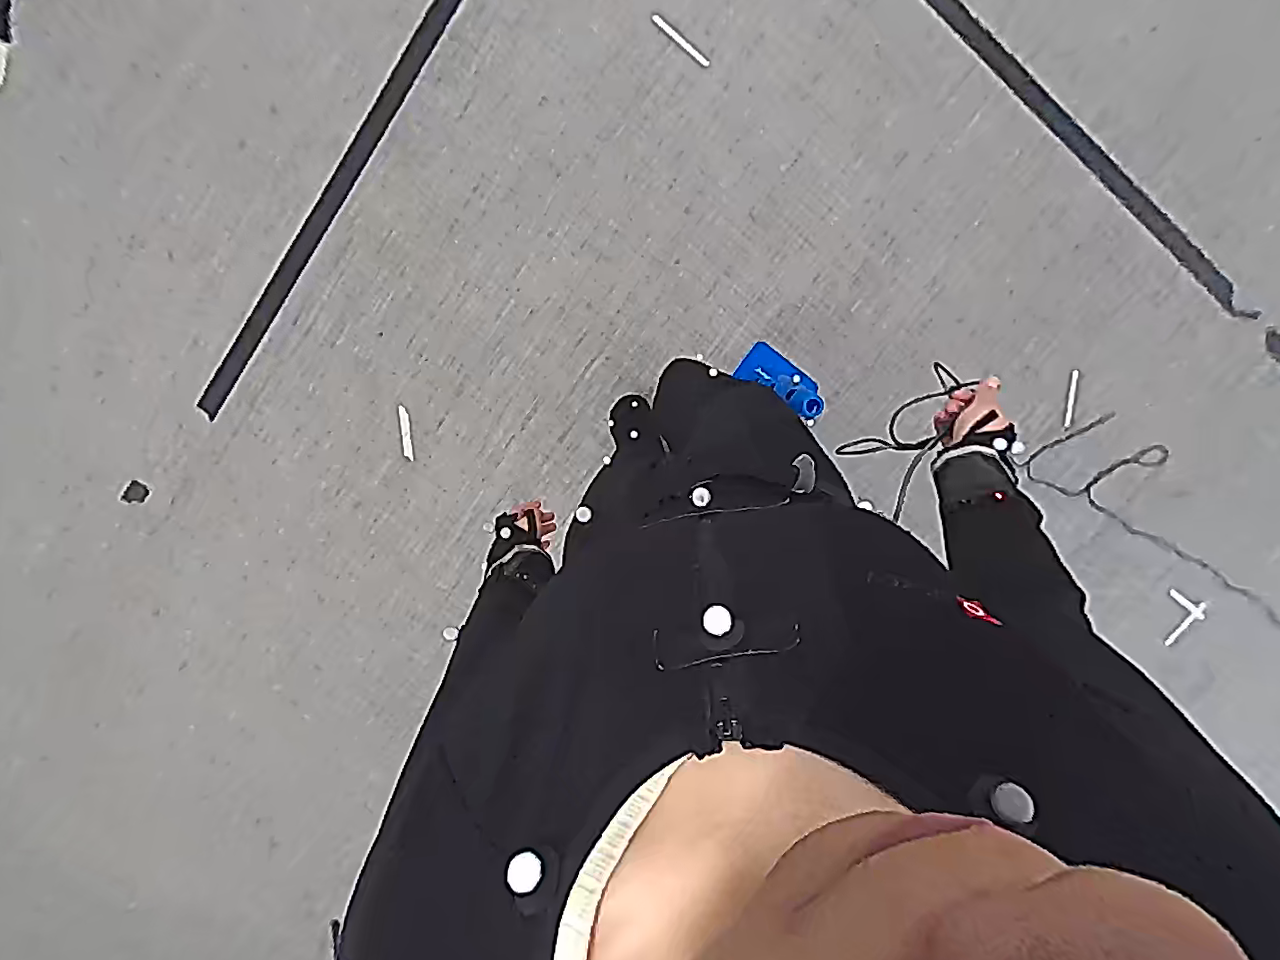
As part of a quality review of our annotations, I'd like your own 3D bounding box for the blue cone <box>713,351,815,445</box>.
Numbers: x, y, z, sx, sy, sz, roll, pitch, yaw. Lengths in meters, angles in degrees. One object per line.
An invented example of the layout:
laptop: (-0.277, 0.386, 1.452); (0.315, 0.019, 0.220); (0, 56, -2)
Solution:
blue cone: (0.305, -0.165, 1.166); (0.193, 0.380, 0.192); (37, 99, -8)
